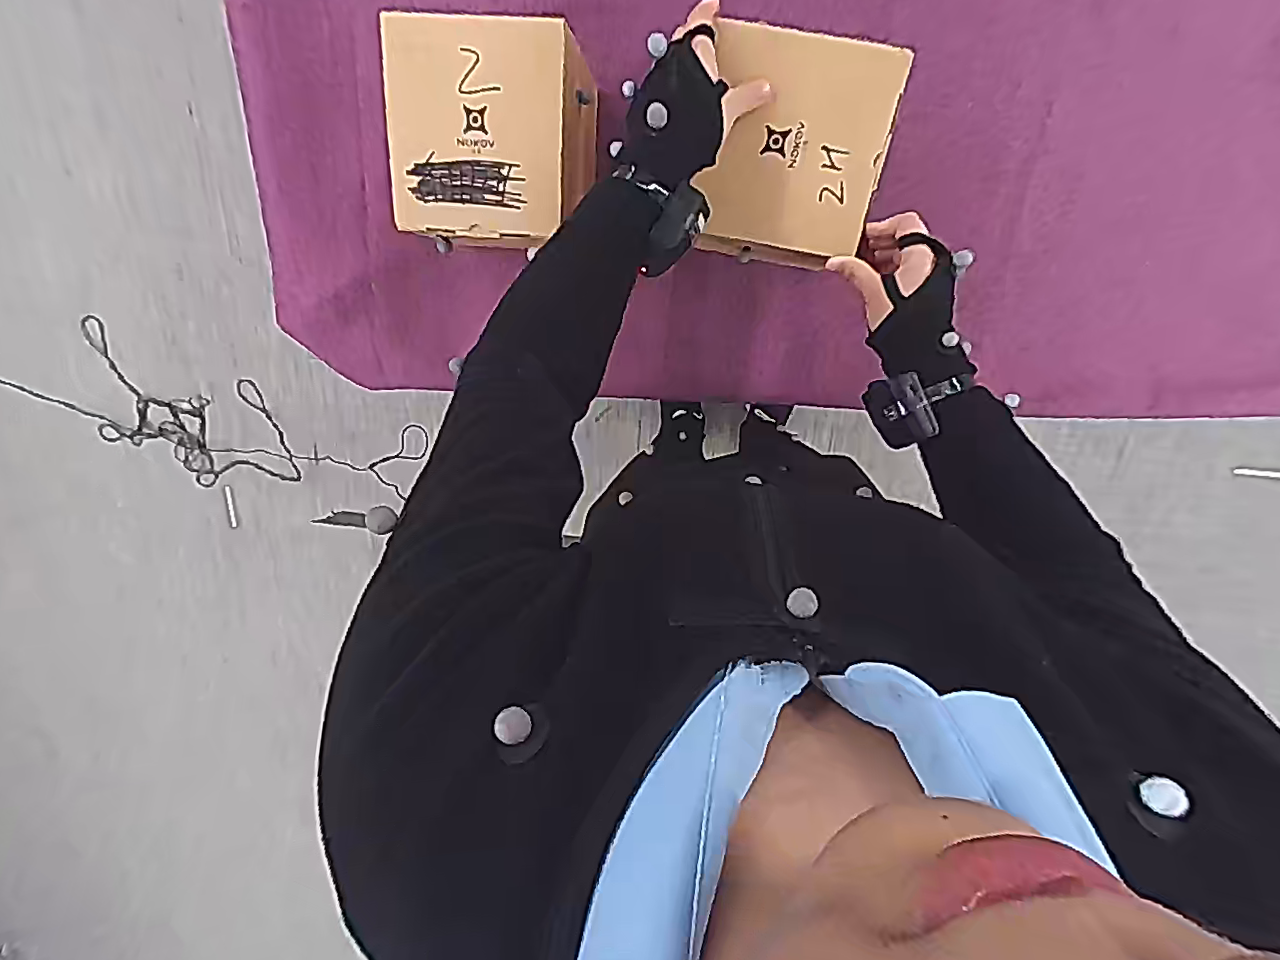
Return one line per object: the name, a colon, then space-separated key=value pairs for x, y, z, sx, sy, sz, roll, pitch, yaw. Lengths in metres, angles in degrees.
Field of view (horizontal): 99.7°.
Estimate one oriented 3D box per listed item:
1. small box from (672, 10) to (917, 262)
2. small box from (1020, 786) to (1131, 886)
small box: x=0.136 y=-0.323 z=0.545 sx=0.179 sy=0.176 sz=0.168 roll=11 pitch=110 yaw=1
small box: x=1.347 y=1.105 z=1.689 sx=0.168 sy=0.176 sz=0.179 roll=28 pitch=109 yaw=-5
